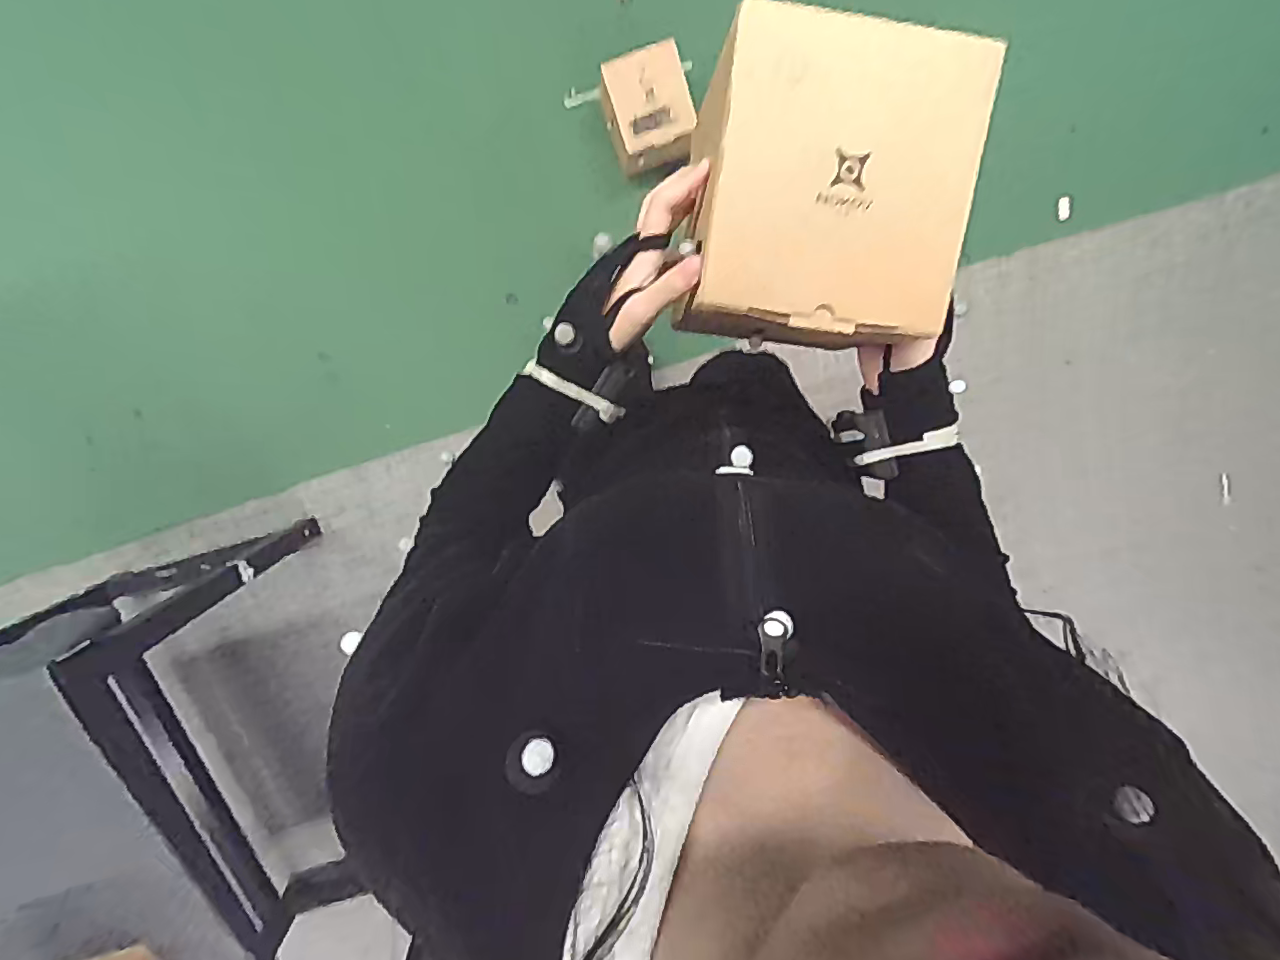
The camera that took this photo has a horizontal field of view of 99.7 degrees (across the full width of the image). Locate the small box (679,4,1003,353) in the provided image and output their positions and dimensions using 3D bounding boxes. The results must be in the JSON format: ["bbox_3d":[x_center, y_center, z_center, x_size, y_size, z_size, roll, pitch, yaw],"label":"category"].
[{"bbox_3d":[0.127,-0.200,0.415,0.168,0.176,0.179,6,100,-4],"label":"small box"}]
